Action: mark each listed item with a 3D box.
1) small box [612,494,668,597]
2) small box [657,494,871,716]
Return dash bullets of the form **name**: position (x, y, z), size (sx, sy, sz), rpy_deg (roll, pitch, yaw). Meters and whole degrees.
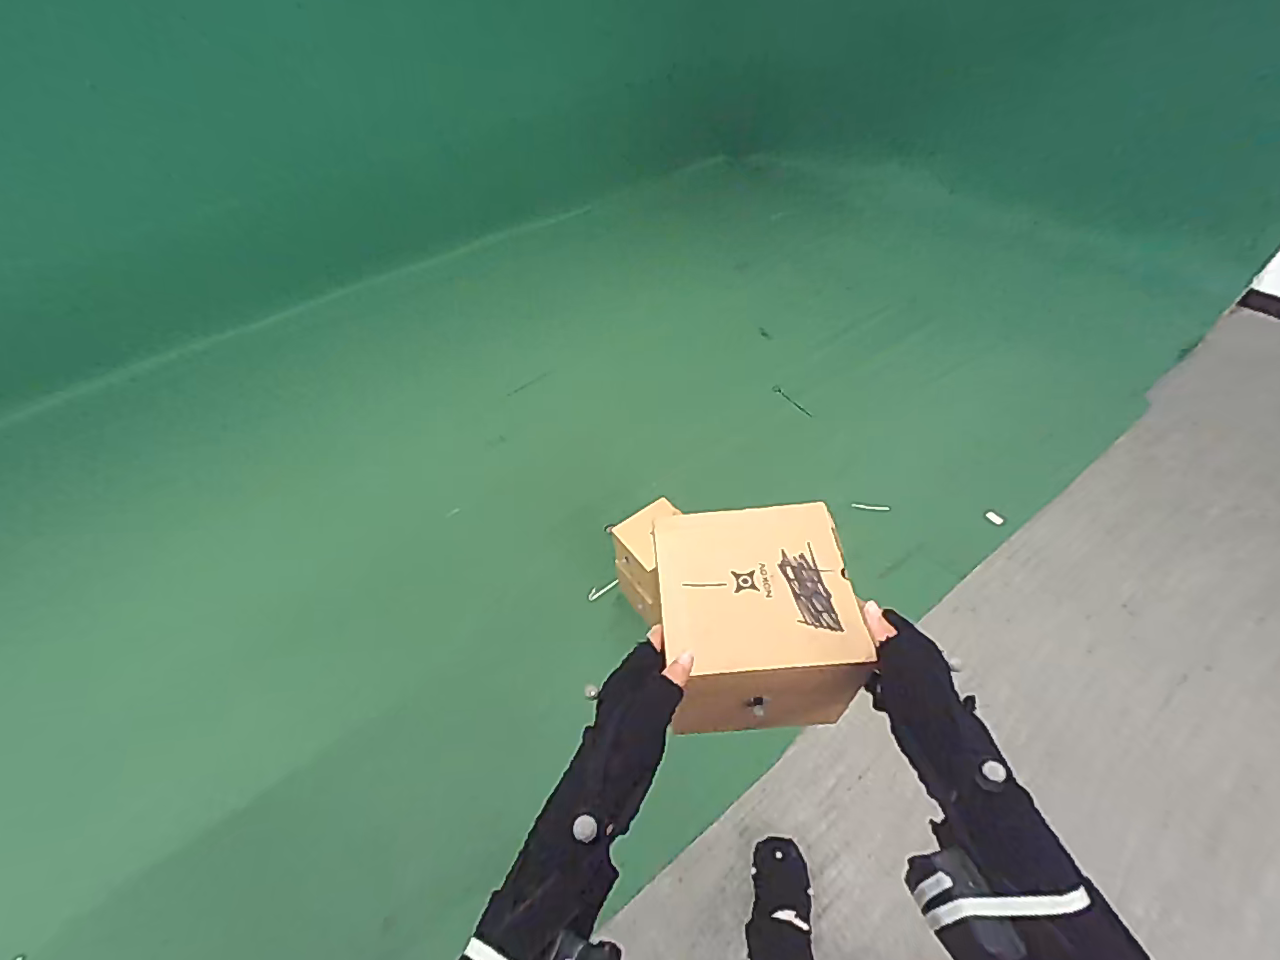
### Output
- **small box**: position (0.050, 0.178, 1.443), size (0.179, 0.176, 0.168), rpy_deg (-31, 54, -21)
- **small box**: position (0.107, 0.131, 0.554), size (0.179, 0.176, 0.168), rpy_deg (-3, 49, 3)
